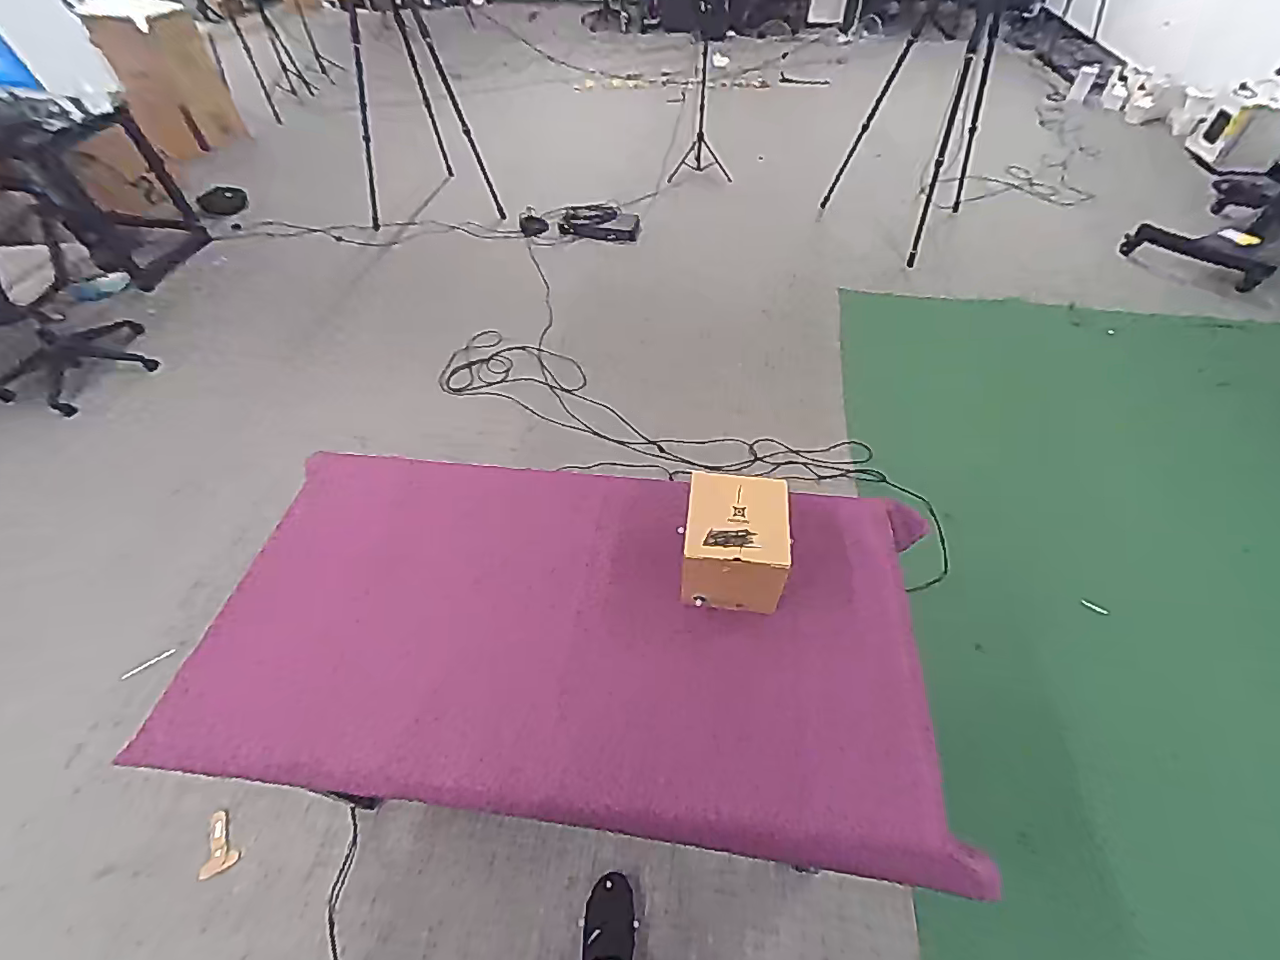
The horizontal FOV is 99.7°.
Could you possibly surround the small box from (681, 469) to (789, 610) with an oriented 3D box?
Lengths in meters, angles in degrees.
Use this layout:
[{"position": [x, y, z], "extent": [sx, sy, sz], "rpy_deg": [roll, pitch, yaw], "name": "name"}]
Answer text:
[{"position": [0.160, 0.106, 0.935], "extent": [0.168, 0.176, 0.179], "rpy_deg": [5, 50, 6], "name": "small box"}]
